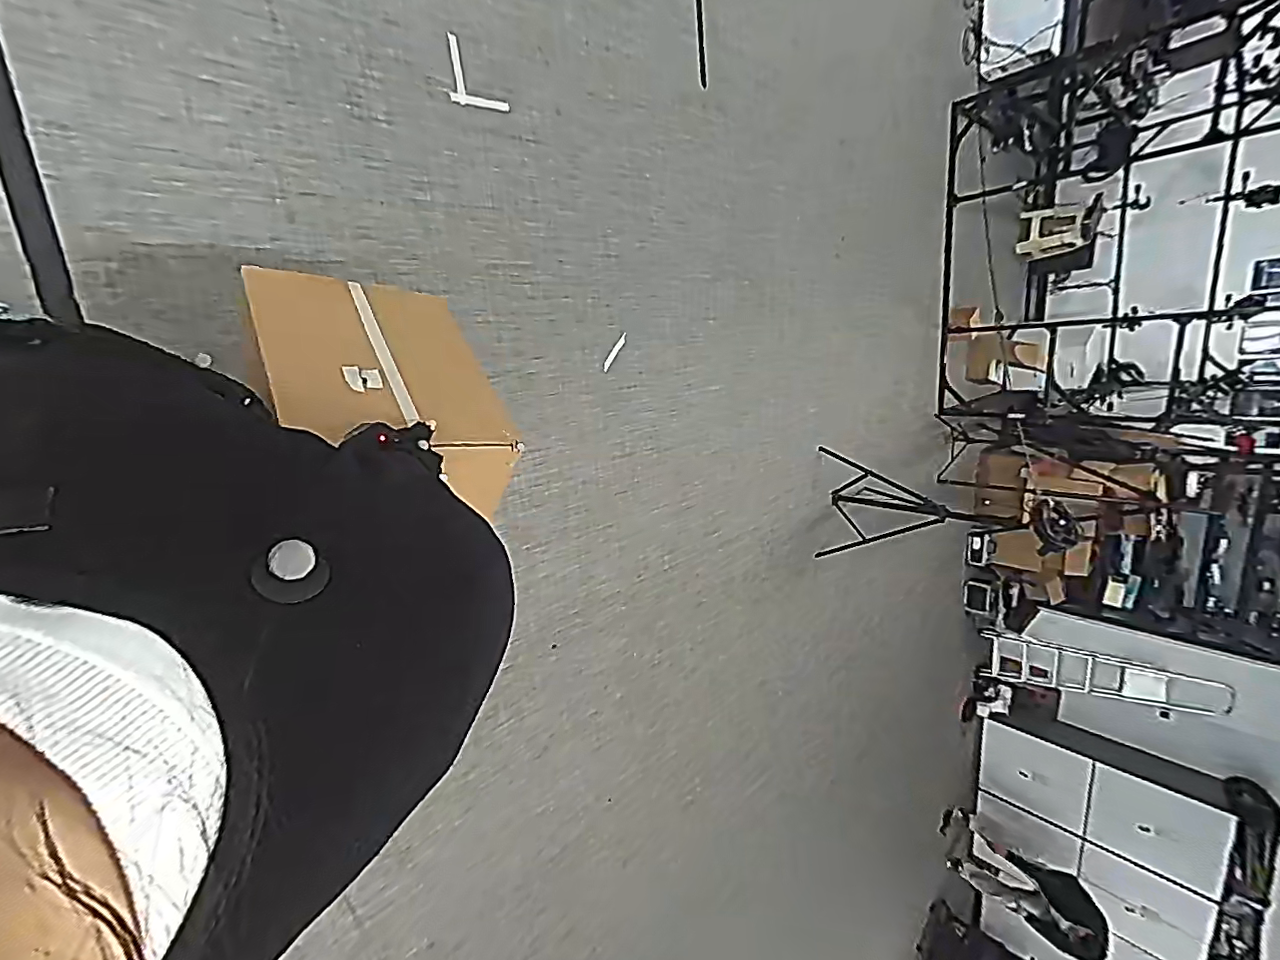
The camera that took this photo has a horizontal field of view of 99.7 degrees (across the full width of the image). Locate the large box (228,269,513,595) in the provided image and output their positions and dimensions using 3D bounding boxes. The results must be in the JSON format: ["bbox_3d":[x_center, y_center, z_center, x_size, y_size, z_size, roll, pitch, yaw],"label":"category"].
[{"bbox_3d":[-0.471,-0.080,0.906,0.320,0.408,0.320,-5,142,-41],"label":"large box"}]
